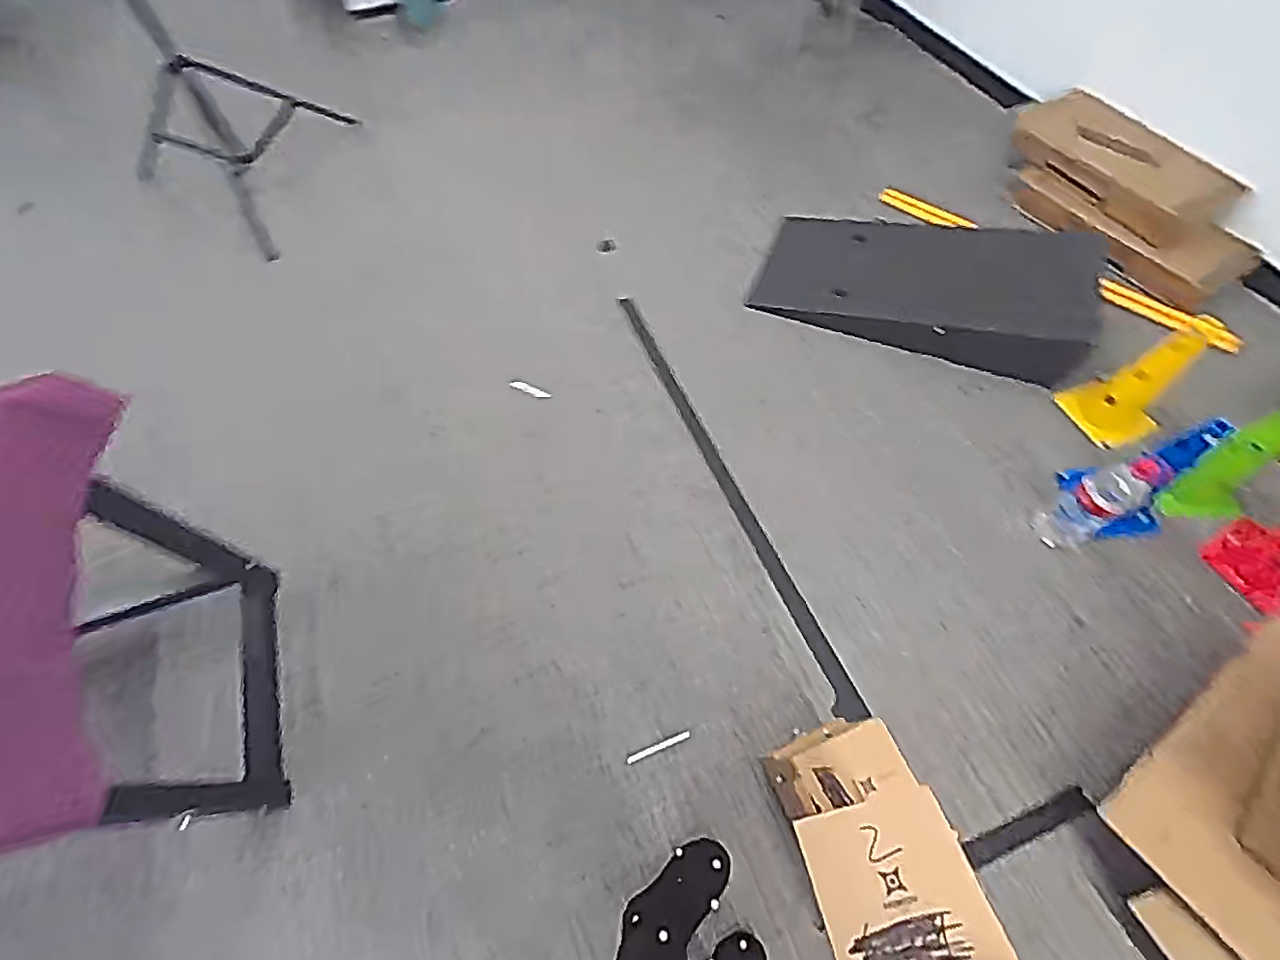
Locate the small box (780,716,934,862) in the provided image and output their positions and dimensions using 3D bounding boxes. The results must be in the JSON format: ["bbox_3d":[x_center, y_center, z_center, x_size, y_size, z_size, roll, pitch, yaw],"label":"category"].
[{"bbox_3d":[0.364,0.539,0.953,0.179,0.176,0.168,-19,63,-10],"label":"small box"}]

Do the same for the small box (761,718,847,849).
[{"bbox_3d":[0.367,0.611,1.101,0.168,0.176,0.179,-22,62,-10],"label":"small box"}]
